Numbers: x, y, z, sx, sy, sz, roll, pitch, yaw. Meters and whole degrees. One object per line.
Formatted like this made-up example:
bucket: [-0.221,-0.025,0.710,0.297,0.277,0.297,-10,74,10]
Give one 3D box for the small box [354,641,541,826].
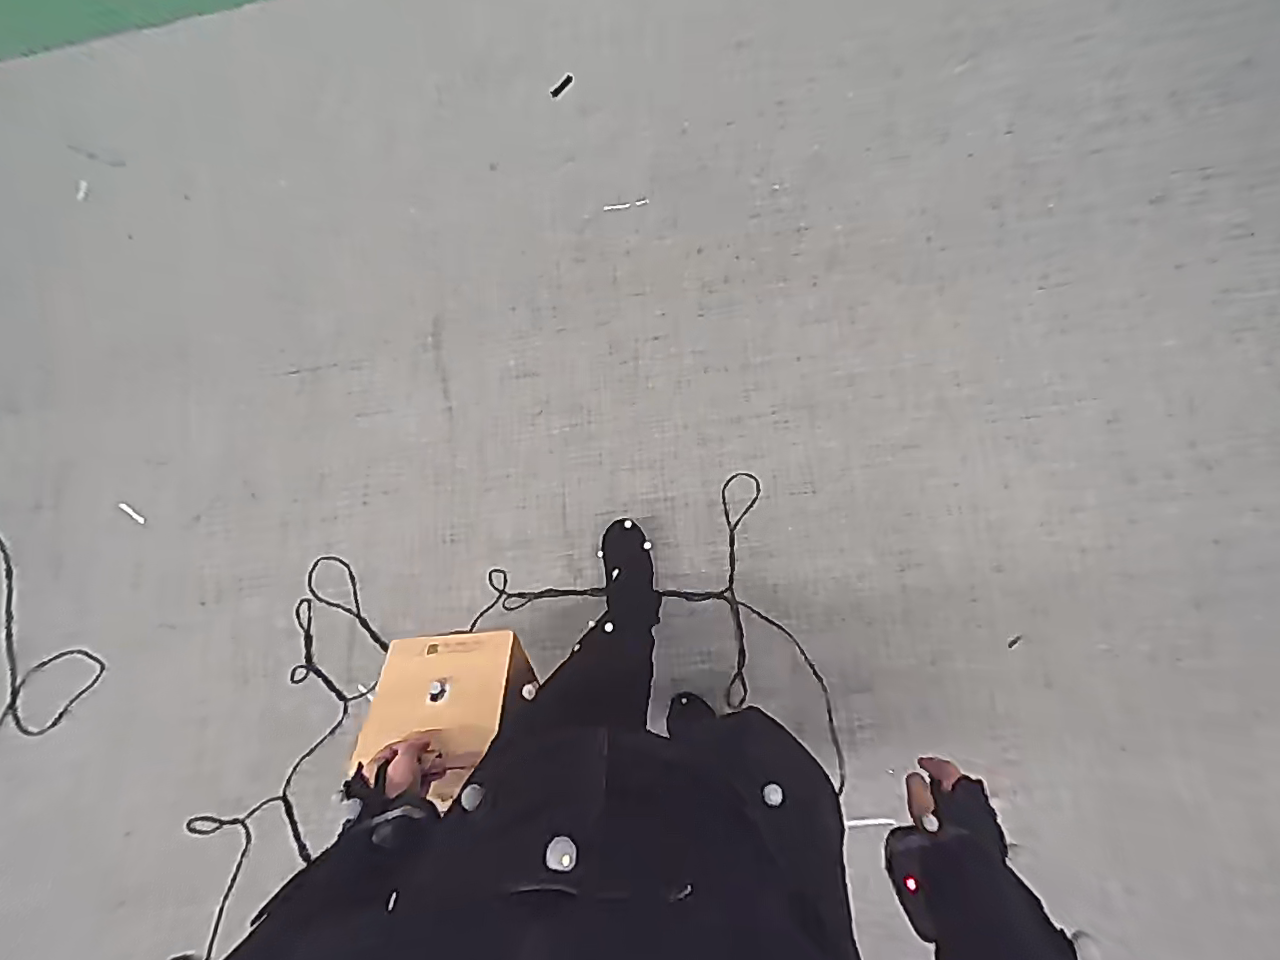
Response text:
small box: [-0.233,0.323,0.706,0.168,0.179,0.176,-7,43,2]
